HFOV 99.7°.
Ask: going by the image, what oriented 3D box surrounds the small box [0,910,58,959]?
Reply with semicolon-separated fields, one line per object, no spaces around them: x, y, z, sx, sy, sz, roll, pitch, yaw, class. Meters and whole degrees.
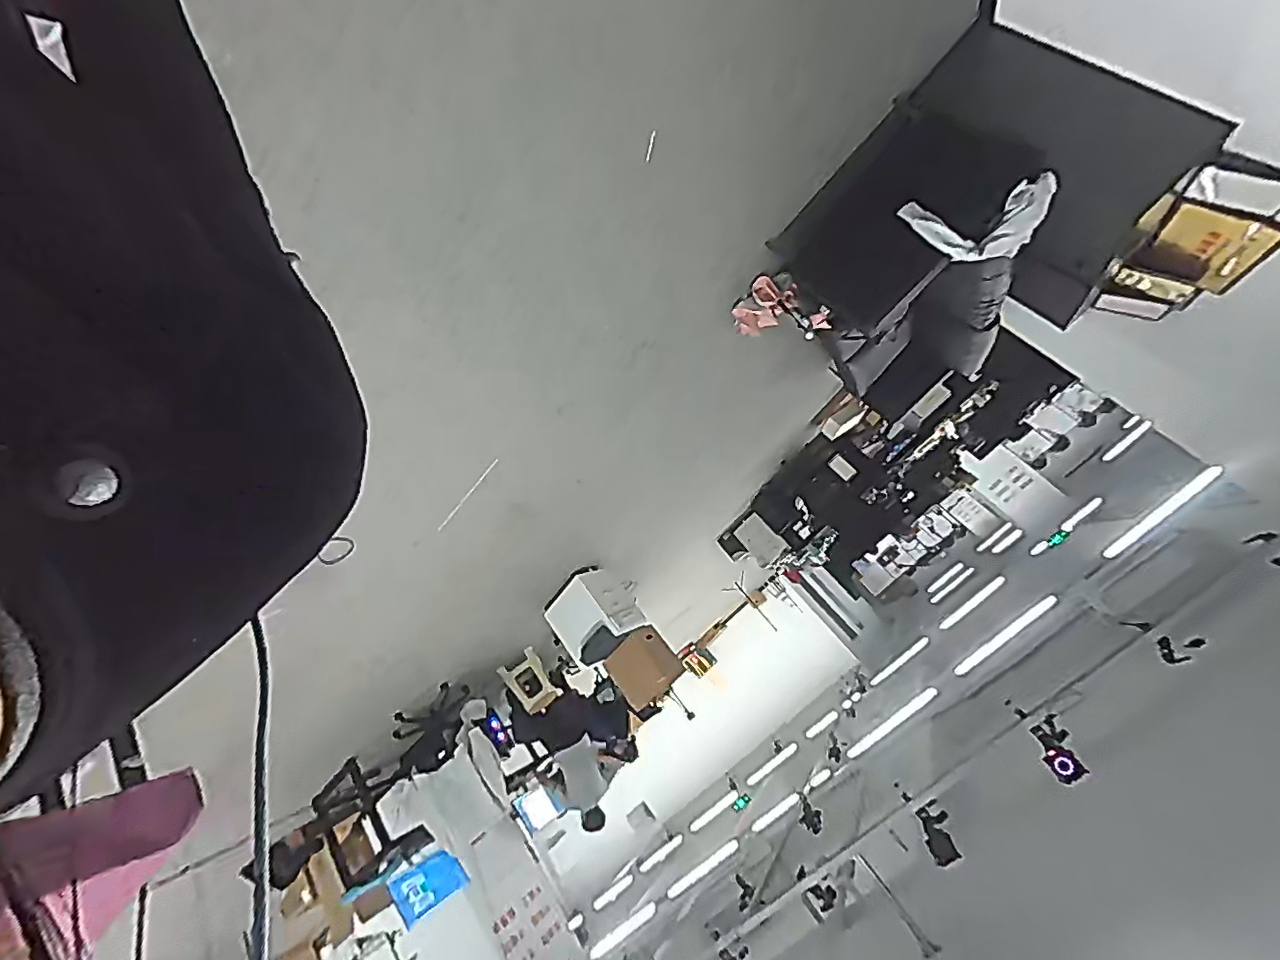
-1.647;1.262;1.389;0.179;0.176;0.168;-48;155;20;small box
